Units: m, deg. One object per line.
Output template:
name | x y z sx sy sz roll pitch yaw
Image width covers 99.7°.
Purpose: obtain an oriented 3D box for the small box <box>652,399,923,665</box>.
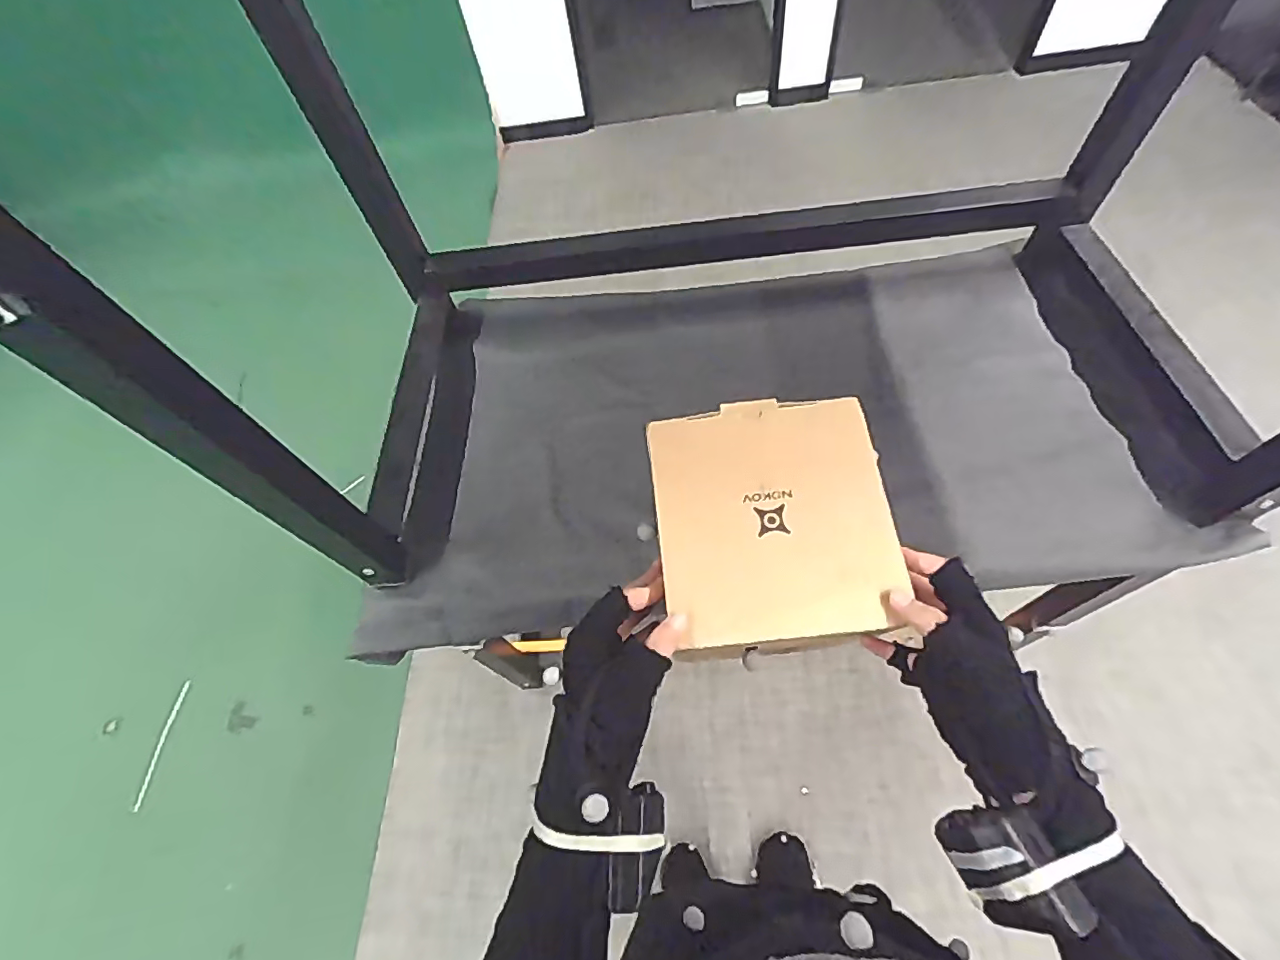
small box | 0.105 0.057 0.459 0.168 0.176 0.179 -7 65 3
